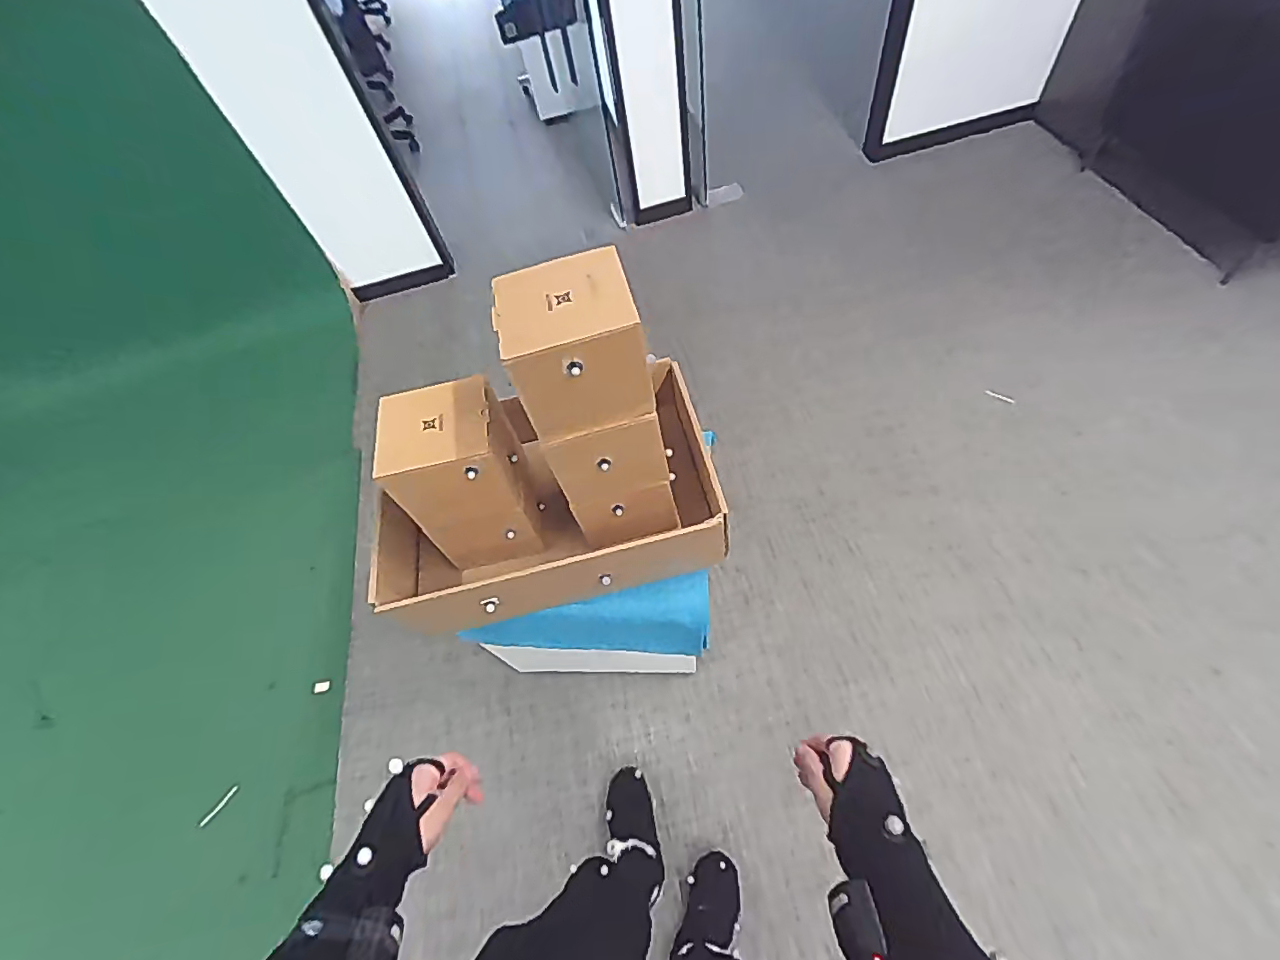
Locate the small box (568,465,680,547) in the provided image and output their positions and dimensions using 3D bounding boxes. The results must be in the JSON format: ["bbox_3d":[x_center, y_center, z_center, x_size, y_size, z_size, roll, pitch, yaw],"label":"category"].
[{"bbox_3d":[-0.033,0.005,1.007,0.179,0.176,0.168,-14,55,2],"label":"small box"}]

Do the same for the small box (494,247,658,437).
[{"bbox_3d":[-0.085,-0.182,0.744,0.179,0.176,0.168,-15,55,1],"label":"small box"}]

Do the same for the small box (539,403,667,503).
[{"bbox_3d":[-0.059,-0.086,0.874,0.179,0.176,0.168,-16,55,2],"label":"small box"}]
